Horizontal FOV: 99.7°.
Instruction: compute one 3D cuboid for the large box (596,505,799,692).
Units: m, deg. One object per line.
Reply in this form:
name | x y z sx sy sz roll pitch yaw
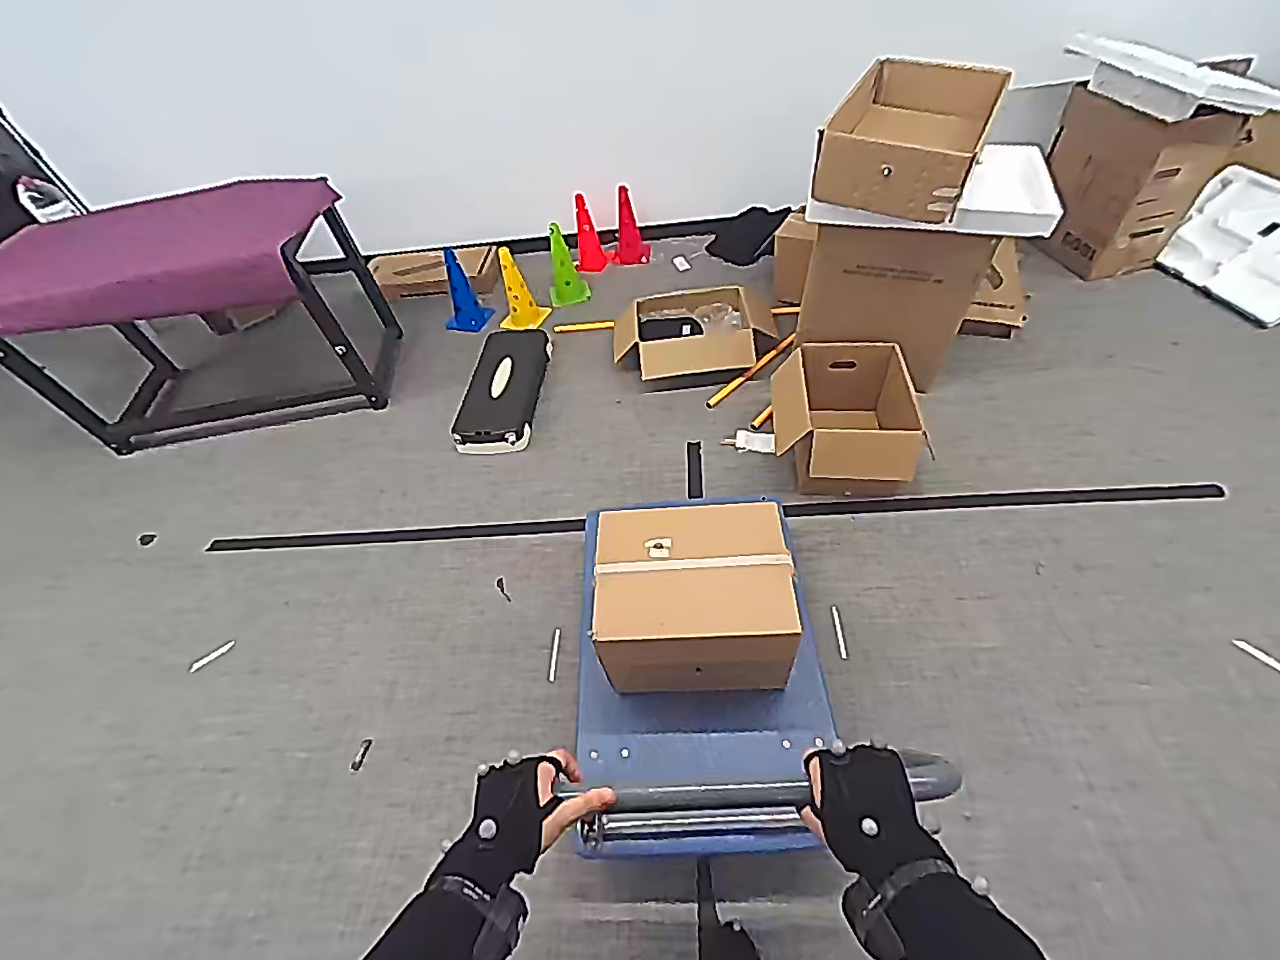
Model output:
large box | 0.126 0.284 1.260 0.408 0.320 0.320 -5 49 5
